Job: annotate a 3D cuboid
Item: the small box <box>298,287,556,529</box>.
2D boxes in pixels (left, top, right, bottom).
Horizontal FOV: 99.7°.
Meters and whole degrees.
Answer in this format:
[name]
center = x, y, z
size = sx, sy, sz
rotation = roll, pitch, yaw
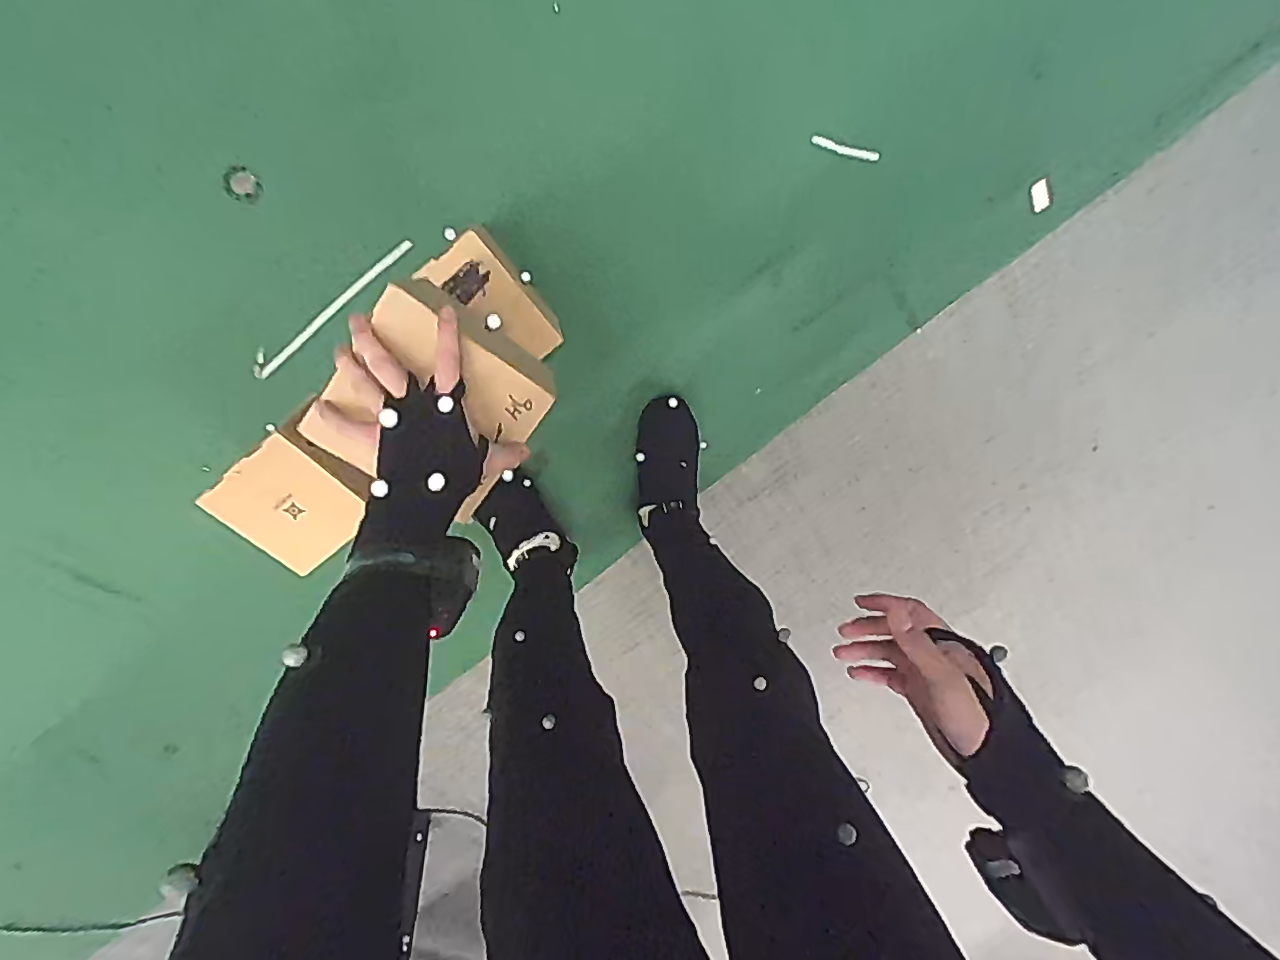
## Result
[small box]
center = -0.209, -0.083, 0.578
size = 0.179, 0.176, 0.168
rotation = 35, 101, -20
